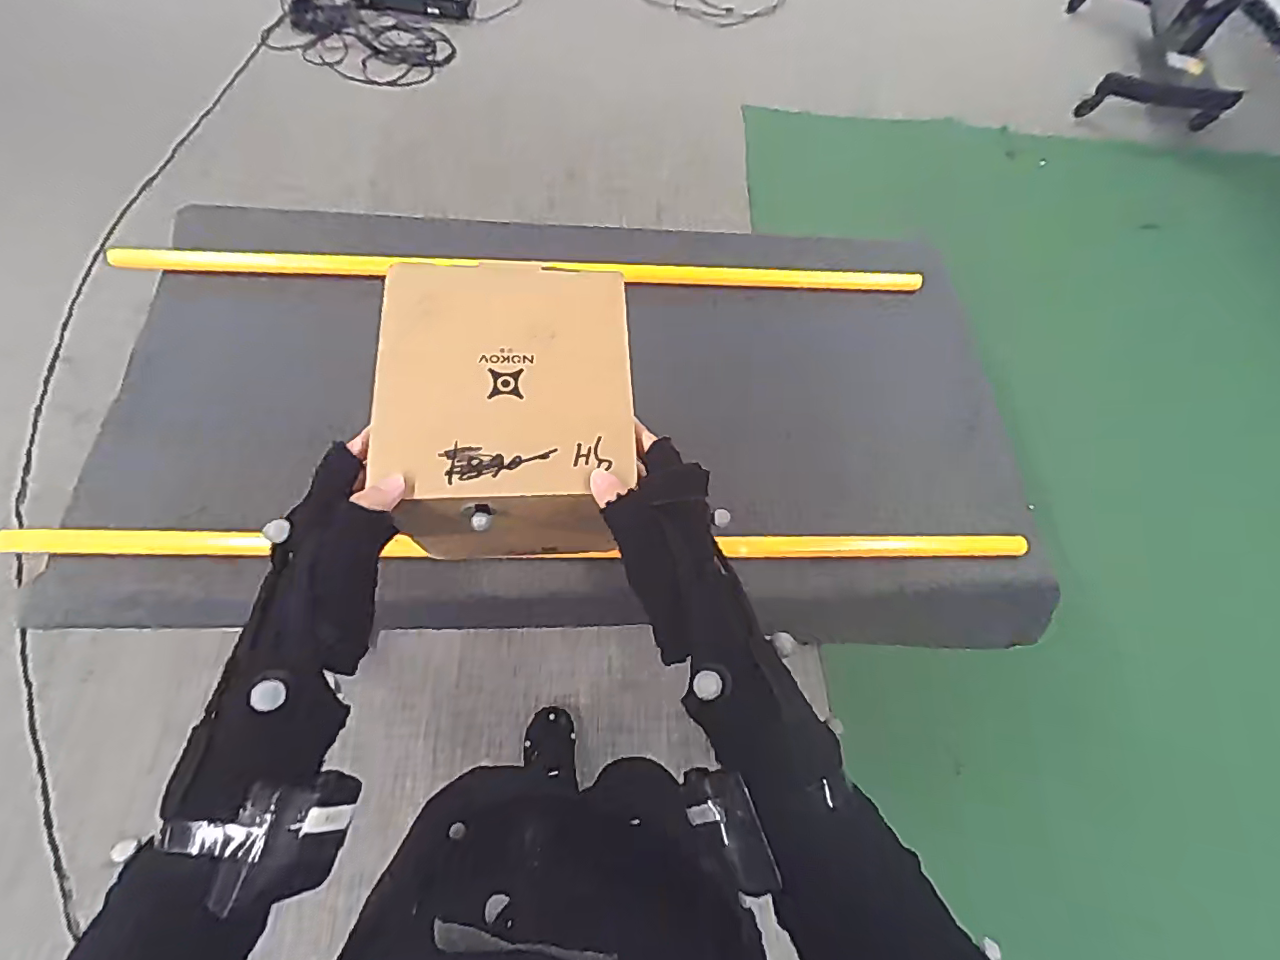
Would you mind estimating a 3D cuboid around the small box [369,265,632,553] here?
[{"bbox_3d":[-0.101,-0.046,0.445,0.168,0.176,0.179,-1,69,-8],"label":"small box"}]
